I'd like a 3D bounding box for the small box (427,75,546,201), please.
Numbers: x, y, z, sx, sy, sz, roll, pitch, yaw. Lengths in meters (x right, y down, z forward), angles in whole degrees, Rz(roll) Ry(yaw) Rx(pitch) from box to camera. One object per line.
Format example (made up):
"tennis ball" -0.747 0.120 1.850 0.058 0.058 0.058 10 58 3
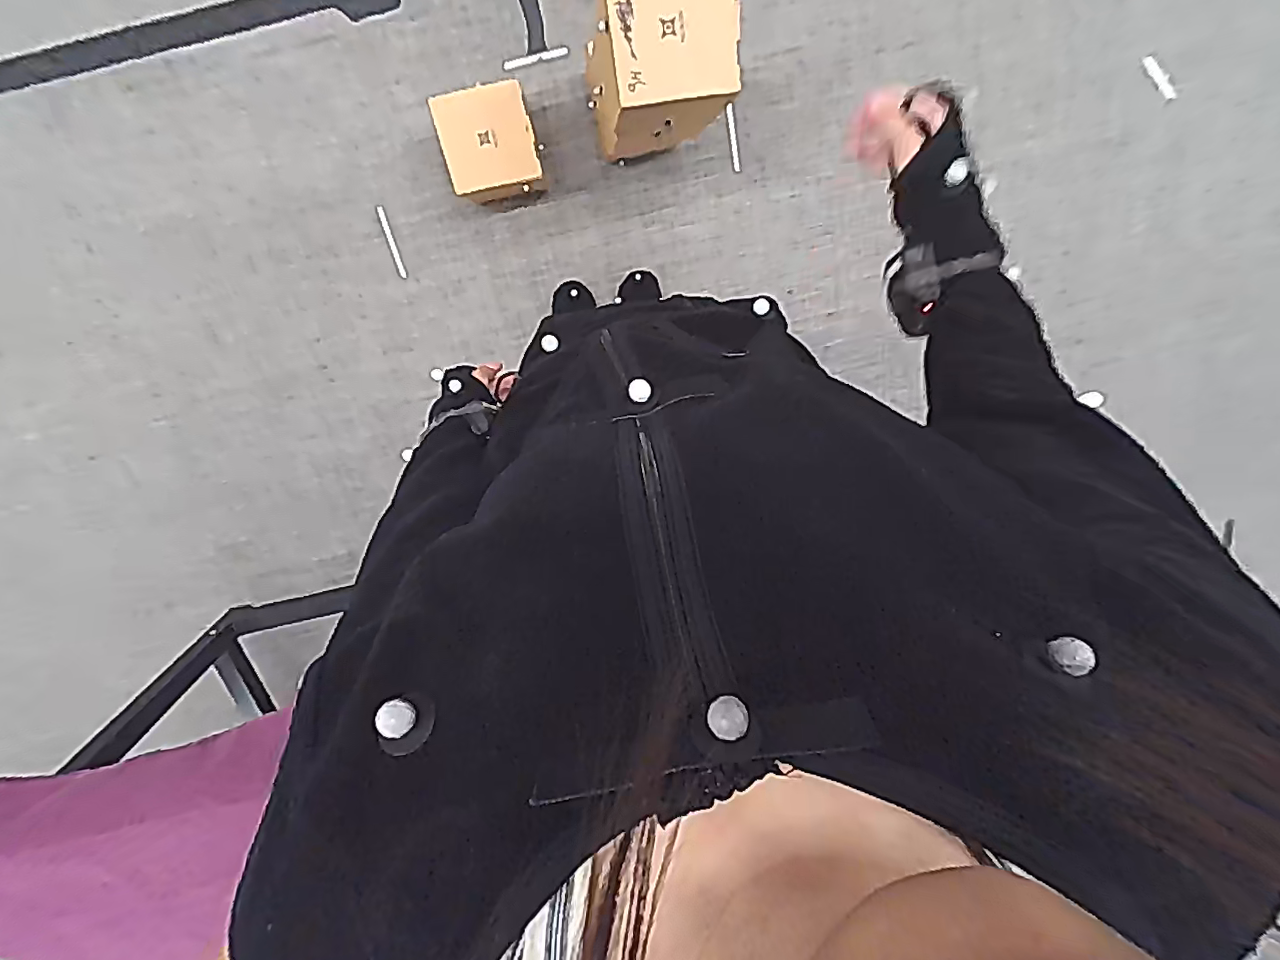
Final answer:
"small box" -0.299 -0.678 1.092 0.179 0.176 0.168 -14 112 -2

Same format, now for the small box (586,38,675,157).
"small box" -0.010 -0.772 1.089 0.168 0.176 0.179 -15 112 -2

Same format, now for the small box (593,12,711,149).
"small box" 0.018 -0.698 0.944 0.179 0.176 0.168 -13 113 -3

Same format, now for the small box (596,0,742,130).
"small box" 0.038 -0.634 0.794 0.179 0.176 0.168 -10 113 -4
